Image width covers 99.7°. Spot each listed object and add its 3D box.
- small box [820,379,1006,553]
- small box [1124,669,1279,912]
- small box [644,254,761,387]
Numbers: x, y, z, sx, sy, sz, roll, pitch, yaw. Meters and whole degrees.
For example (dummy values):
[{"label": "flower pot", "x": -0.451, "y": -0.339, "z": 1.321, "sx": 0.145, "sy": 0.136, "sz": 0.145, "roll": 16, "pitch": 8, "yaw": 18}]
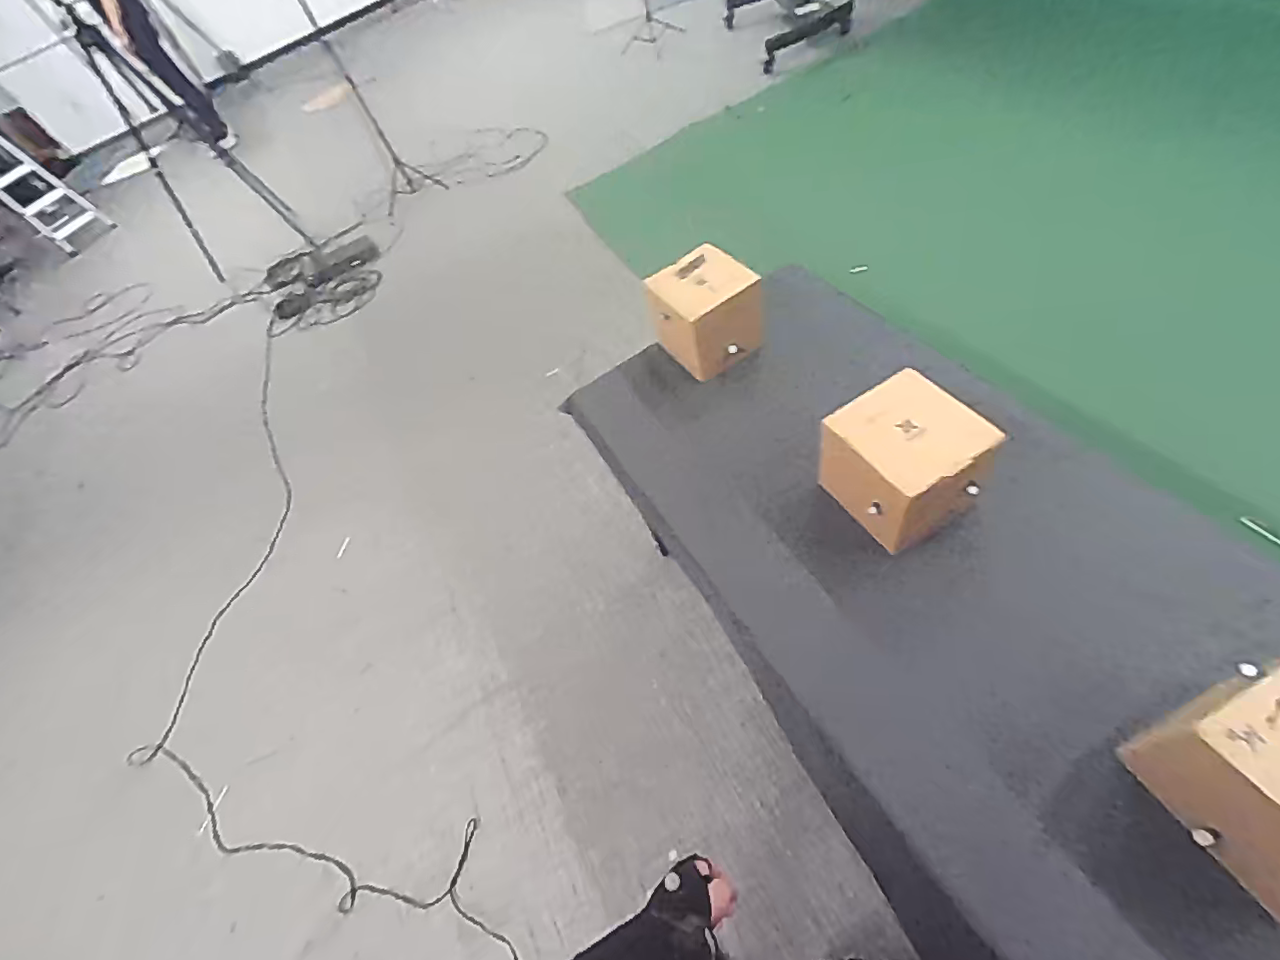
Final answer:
[{"label": "small box", "x": 0.397, "y": -0.013, "z": 0.822, "sx": 0.168, "sy": 0.176, "sz": 0.179, "roll": -30, "pitch": 52, "yaw": -10}, {"label": "small box", "x": 0.648, "y": 0.300, "z": 0.524, "sx": 0.168, "sy": 0.176, "sz": 0.179, "roll": -29, "pitch": 53, "yaw": -7}, {"label": "small box", "x": 0.132, "y": -0.326, "z": 1.114, "sx": 0.168, "sy": 0.176, "sz": 0.179, "roll": -33, "pitch": 55, "yaw": -10}]
